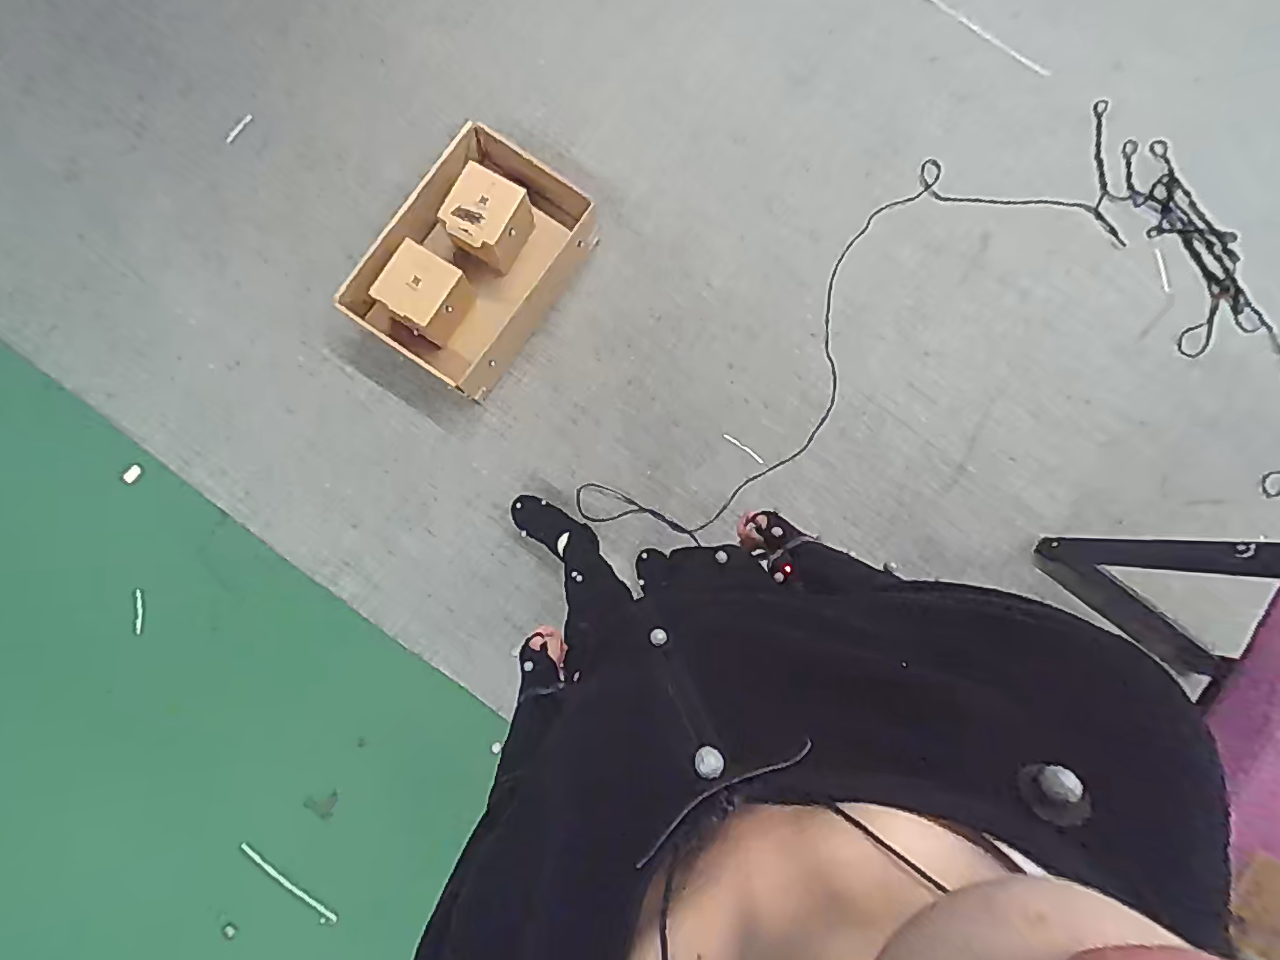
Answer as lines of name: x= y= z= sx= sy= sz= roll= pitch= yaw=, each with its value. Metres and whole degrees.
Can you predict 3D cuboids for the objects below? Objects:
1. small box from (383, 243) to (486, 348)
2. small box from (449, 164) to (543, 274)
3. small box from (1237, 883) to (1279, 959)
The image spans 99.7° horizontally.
small box: x=-0.534 y=-0.480 z=1.438 sx=0.168 sy=0.176 sz=0.179 roll=31 pitch=84 yaw=0
small box: x=-0.377 y=-0.693 z=1.459 sx=0.168 sy=0.176 sz=0.179 roll=28 pitch=85 yaw=1
small box: x=0.932 y=0.634 z=0.672 sx=0.179 sy=0.176 sz=0.168 roll=37 pitch=86 yaw=1
